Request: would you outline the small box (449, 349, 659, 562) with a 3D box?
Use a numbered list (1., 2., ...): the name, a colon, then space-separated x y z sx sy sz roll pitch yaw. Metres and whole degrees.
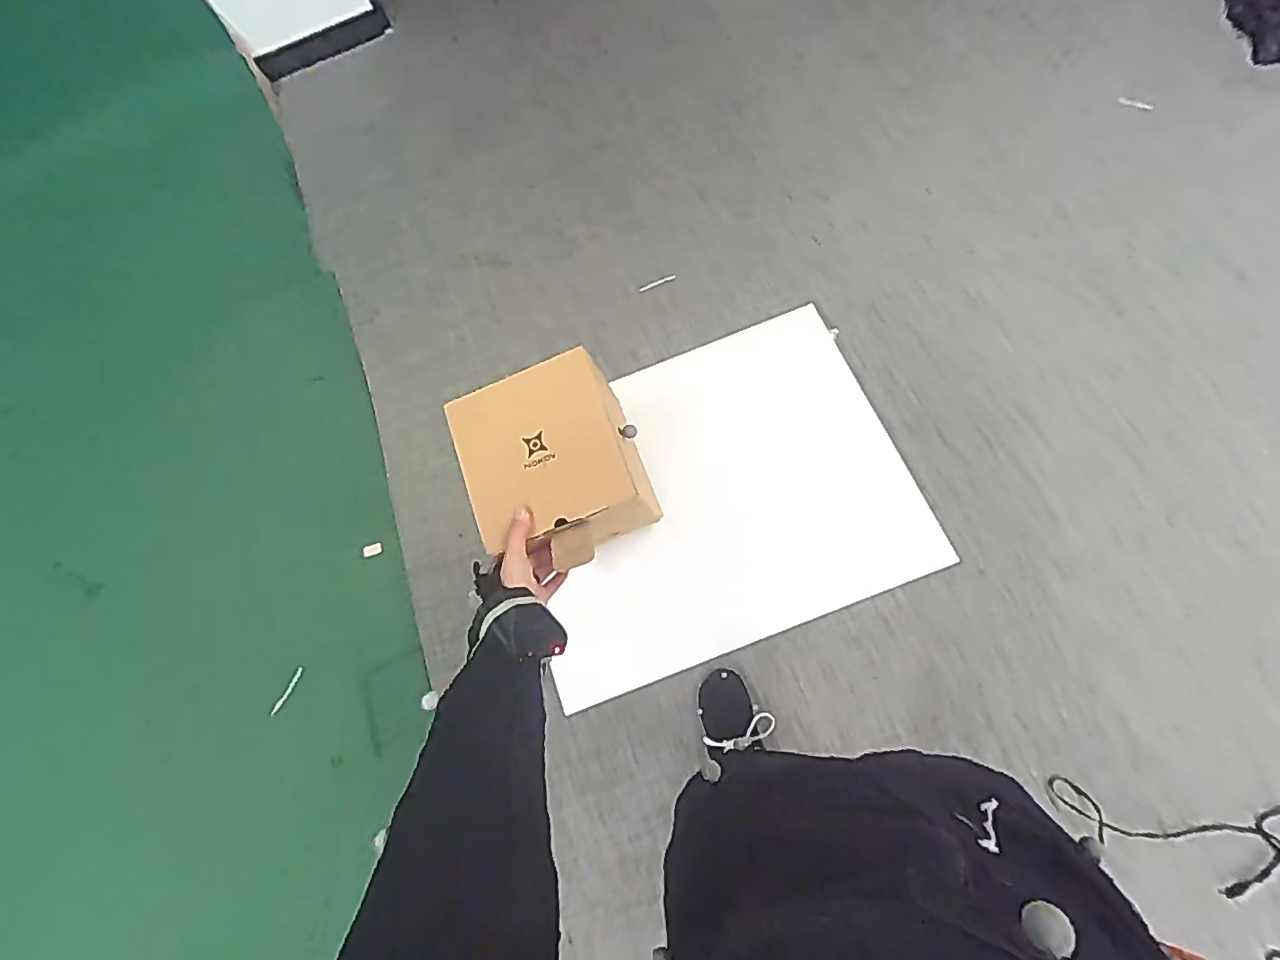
1. small box: -0.088 -0.015 0.624 0.168 0.176 0.179 -22 76 5
